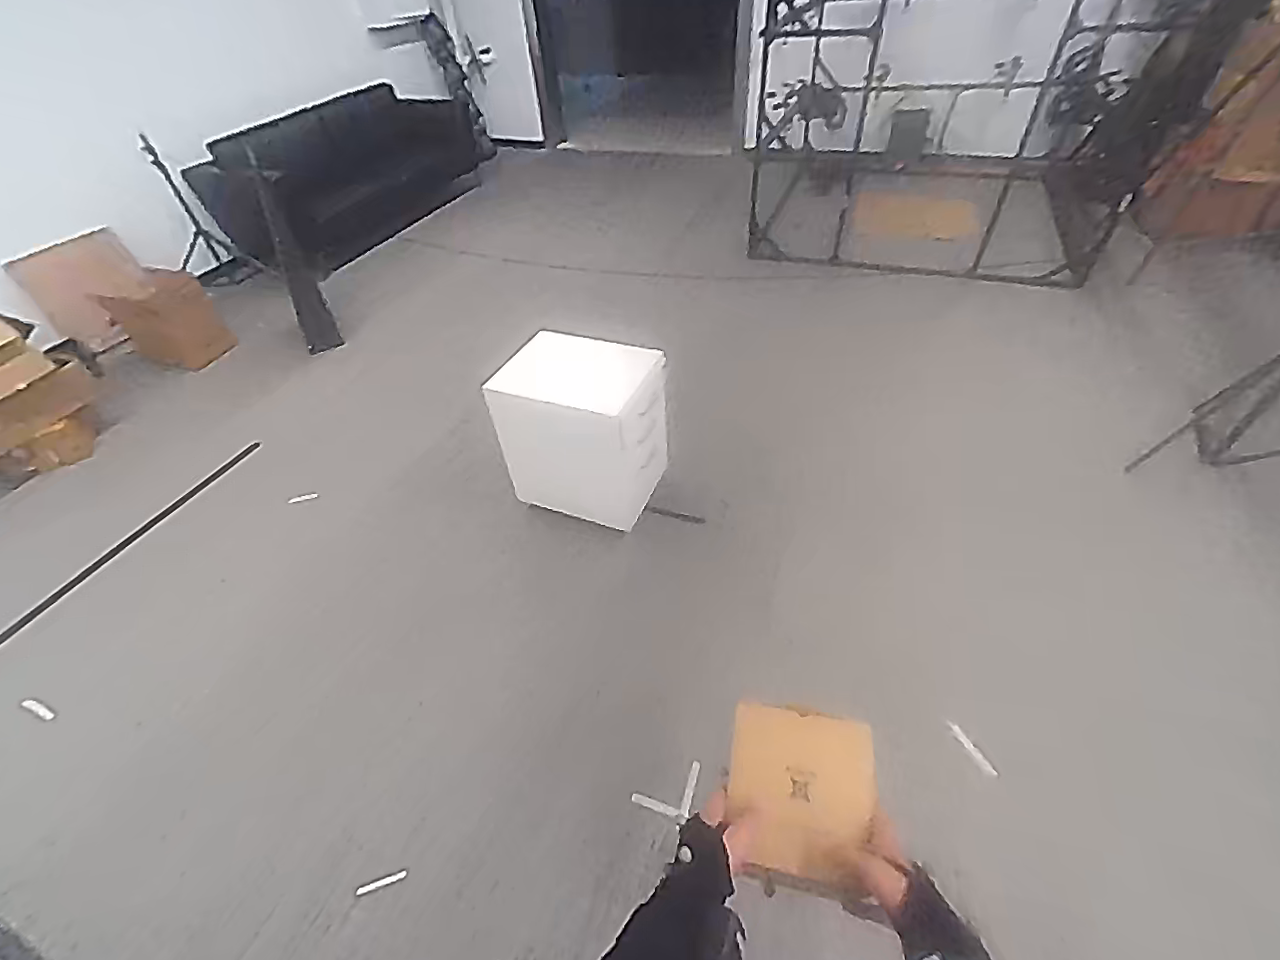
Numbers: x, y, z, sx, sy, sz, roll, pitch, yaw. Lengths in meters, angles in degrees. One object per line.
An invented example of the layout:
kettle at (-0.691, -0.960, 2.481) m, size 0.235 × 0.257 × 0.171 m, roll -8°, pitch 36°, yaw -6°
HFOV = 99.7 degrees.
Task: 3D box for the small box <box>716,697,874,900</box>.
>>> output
small box at (0.189, 0.405, 0.689) m, size 0.168 × 0.176 × 0.179 m, roll 6°, pitch 51°, yaw 12°
